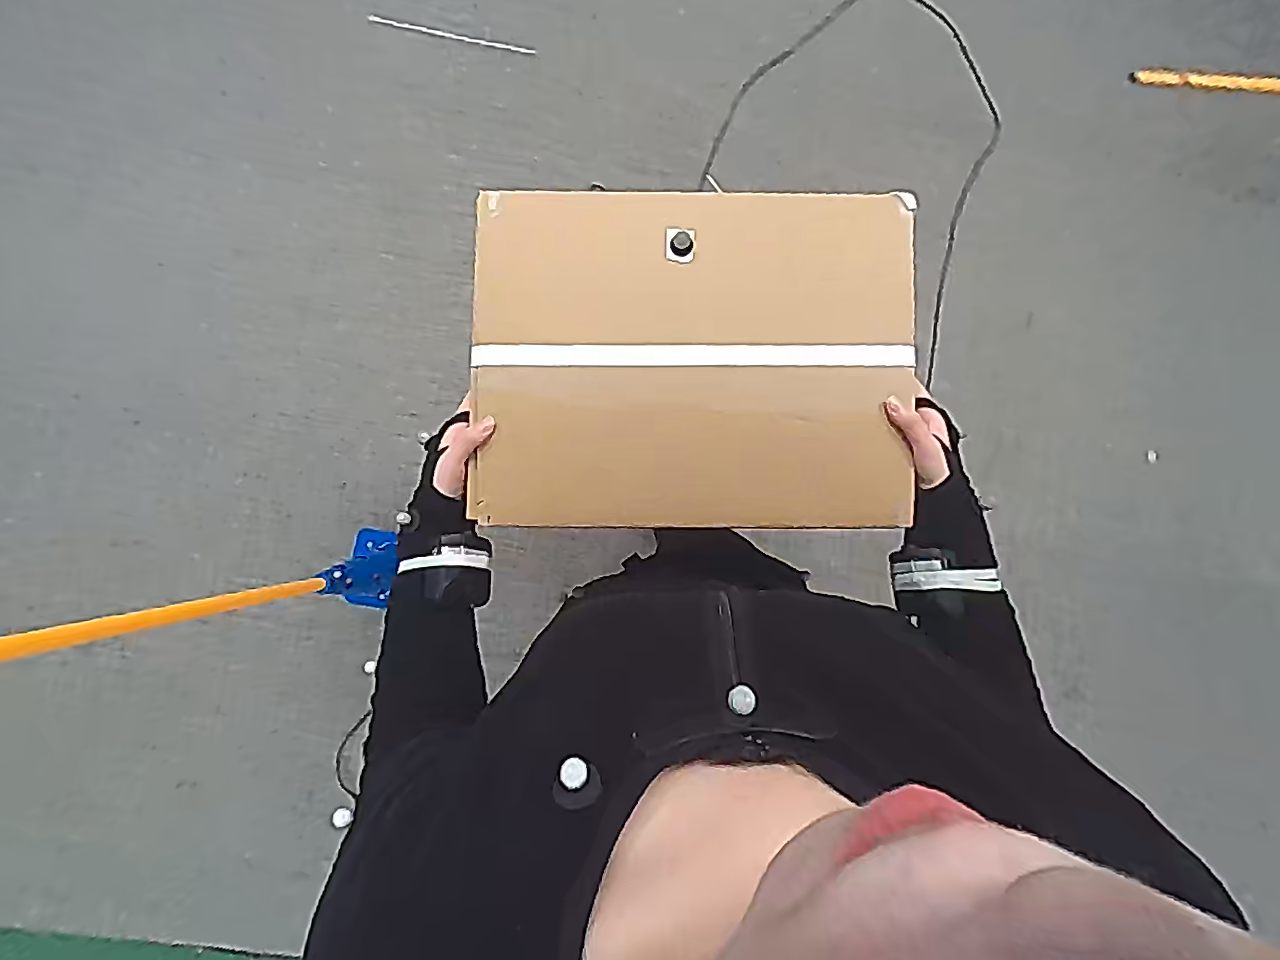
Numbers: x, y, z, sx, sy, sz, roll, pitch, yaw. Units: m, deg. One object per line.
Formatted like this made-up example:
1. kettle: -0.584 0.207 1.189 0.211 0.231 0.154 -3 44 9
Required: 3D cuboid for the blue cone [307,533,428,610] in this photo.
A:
1. blue cone: -0.645 0.221 1.241 0.193 0.380 0.192 8 84 -2
